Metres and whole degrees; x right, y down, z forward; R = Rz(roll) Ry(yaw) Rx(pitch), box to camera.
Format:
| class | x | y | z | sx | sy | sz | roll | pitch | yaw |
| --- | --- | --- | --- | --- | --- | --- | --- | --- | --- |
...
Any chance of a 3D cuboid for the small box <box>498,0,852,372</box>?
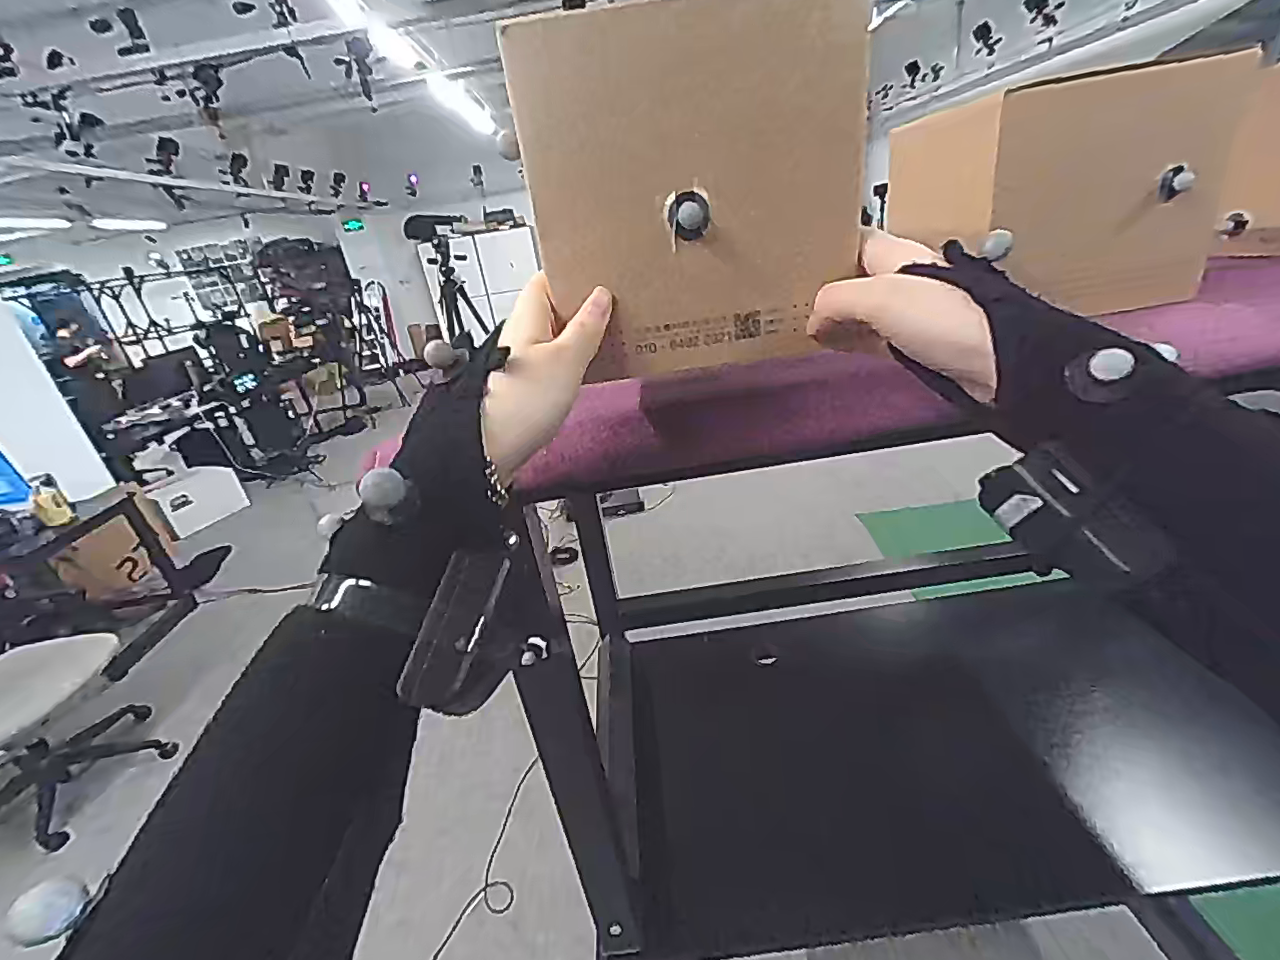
| class | x | y | z | sx | sy | sz | roll | pitch | yaw |
| --- | --- | --- | --- | --- | --- | --- | --- | --- | --- |
| small box | 0.024 | -0.173 | 0.348 | 0.168 | 0.176 | 0.179 | -7 | 26 | 1 |

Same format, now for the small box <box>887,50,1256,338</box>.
| class | x | y | z | sx | sy | sz | roll | pitch | yaw |
| --- | --- | --- | --- | --- | --- | --- | --- | --- | --- |
| small box | 0.334 | -0.231 | 0.465 | 0.179 | 0.176 | 0.168 | -10 | 25 | 1 |
